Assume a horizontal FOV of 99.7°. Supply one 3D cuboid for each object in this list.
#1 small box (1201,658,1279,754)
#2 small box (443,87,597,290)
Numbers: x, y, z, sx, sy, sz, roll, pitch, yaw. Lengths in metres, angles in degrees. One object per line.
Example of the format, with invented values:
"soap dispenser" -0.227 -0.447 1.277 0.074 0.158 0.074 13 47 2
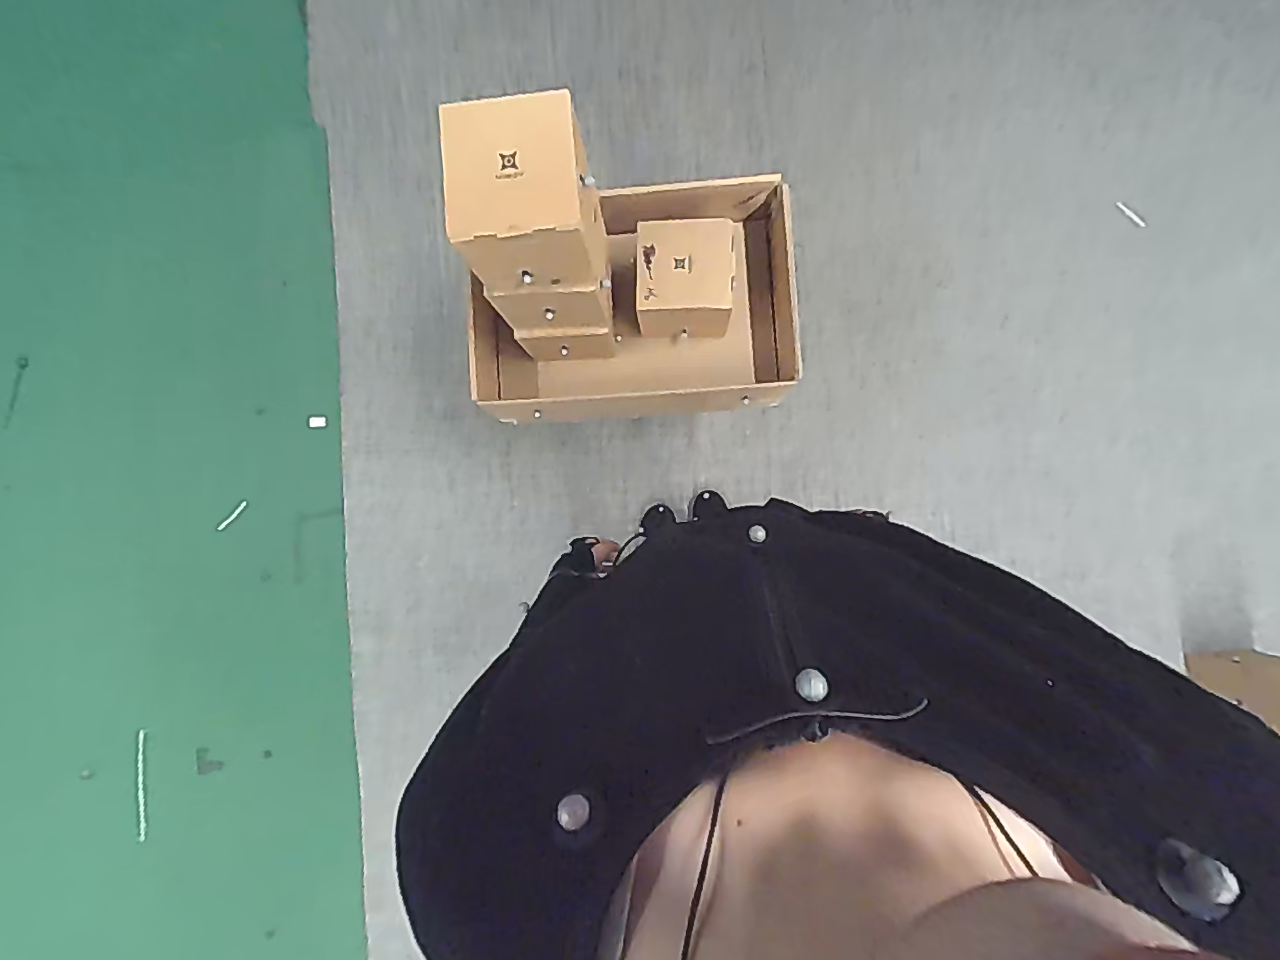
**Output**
"small box" 1.533 0.540 1.317 0.168 0.176 0.179 -6 86 4
"small box" -0.153 -0.382 0.735 0.168 0.176 0.179 -5 87 3
